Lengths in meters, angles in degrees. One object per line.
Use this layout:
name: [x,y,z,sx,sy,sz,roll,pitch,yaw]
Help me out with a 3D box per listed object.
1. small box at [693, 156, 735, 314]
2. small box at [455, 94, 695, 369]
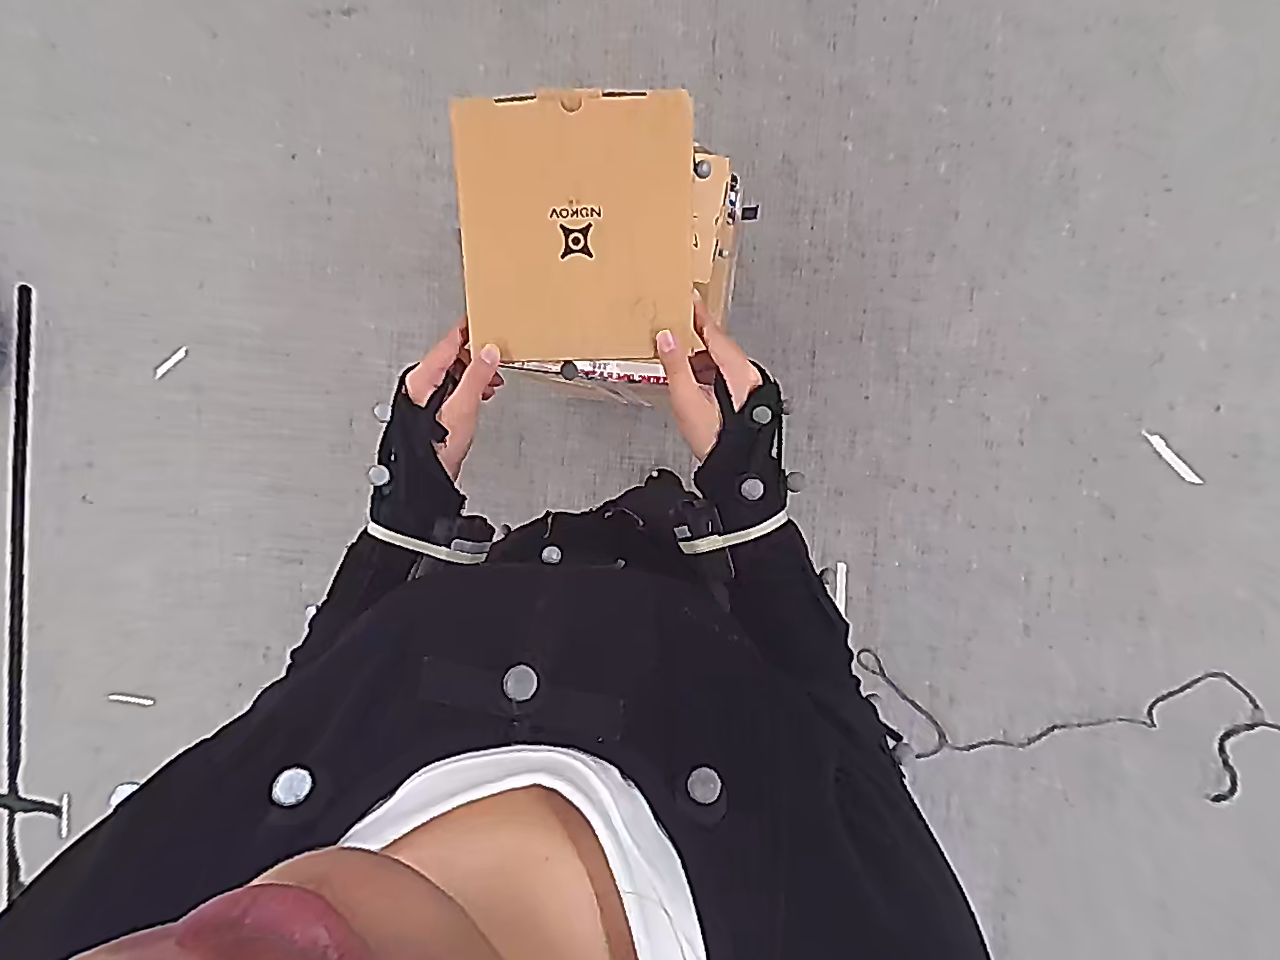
small box: [0.036,-0.356,0.799,0.179,0.176,0.168,11,95,6]
small box: [-0.039,-0.186,0.458,0.168,0.176,0.179,-2,101,3]
